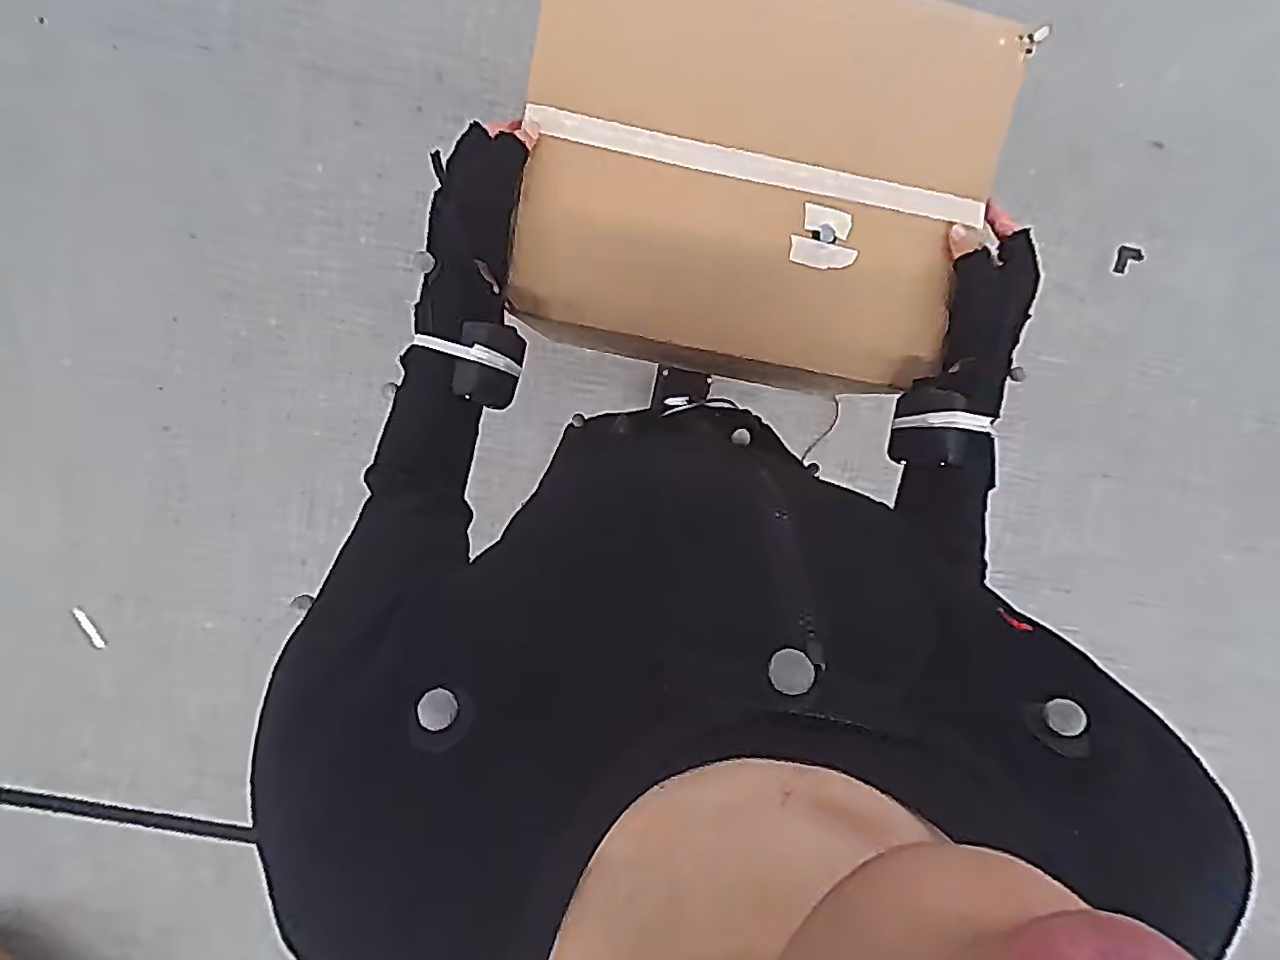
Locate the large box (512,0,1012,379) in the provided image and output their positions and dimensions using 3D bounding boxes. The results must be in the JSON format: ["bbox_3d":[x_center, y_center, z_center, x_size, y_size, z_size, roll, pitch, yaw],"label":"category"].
[{"bbox_3d":[0.095,-0.305,0.624,0.408,0.320,0.320,10,100,-4],"label":"large box"}]
